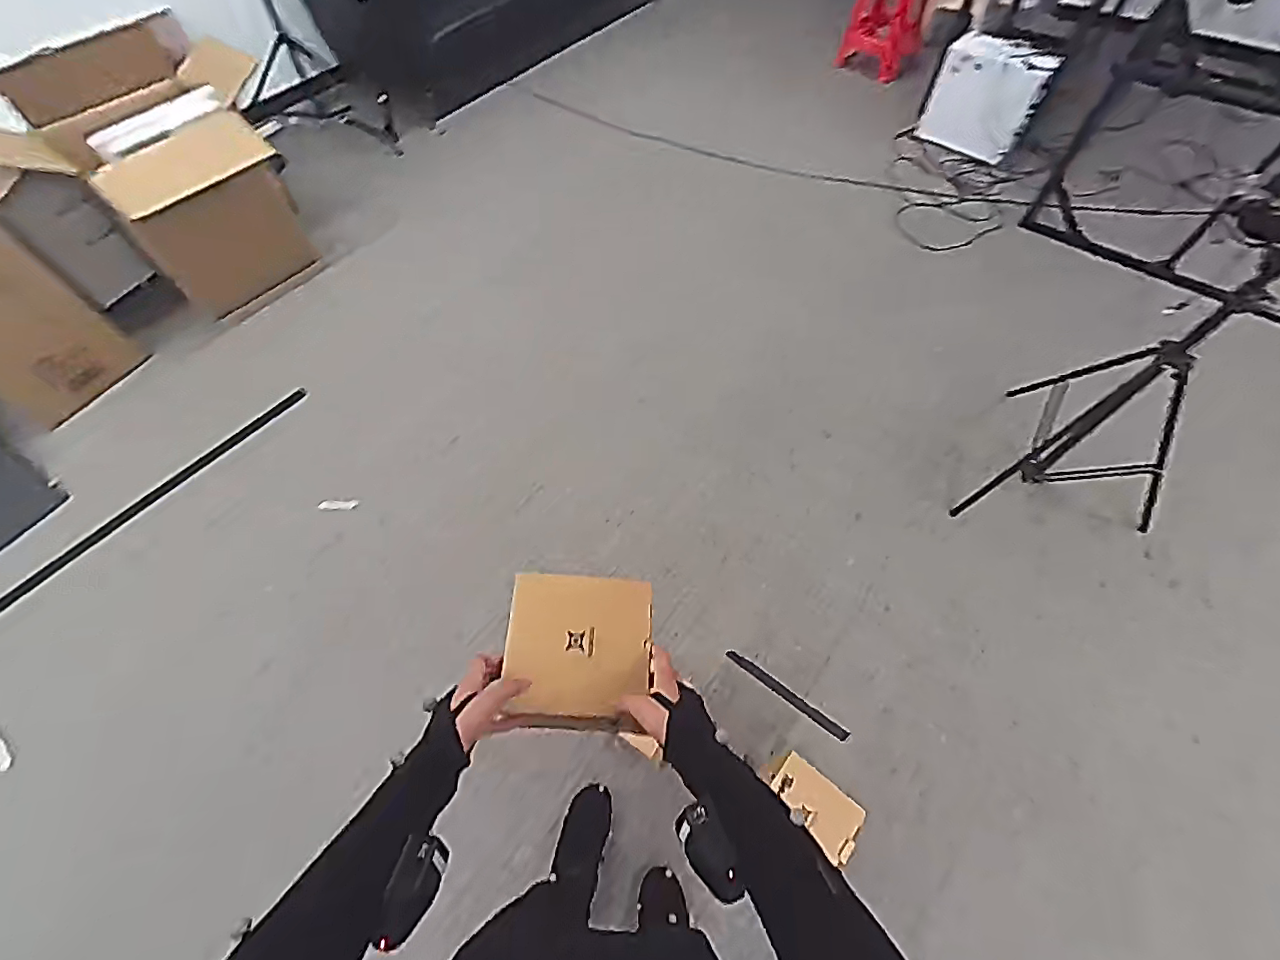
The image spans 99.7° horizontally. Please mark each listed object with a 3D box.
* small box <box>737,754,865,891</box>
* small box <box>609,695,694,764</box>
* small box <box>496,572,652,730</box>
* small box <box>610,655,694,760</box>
[{"bbox_3d":[0.328,0.706,1.134,0.179,0.176,0.168,37,66,19],"label":"small box"},{"bbox_3d":[0.020,0.603,1.394,0.168,0.176,0.179,29,64,17],"label":"small box"},{"bbox_3d":[-0.079,0.231,0.713,0.179,0.176,0.168,4,59,-4],"label":"small box"},{"bbox_3d":[0.007,0.519,1.254,0.168,0.176,0.179,30,65,19],"label":"small box"}]
